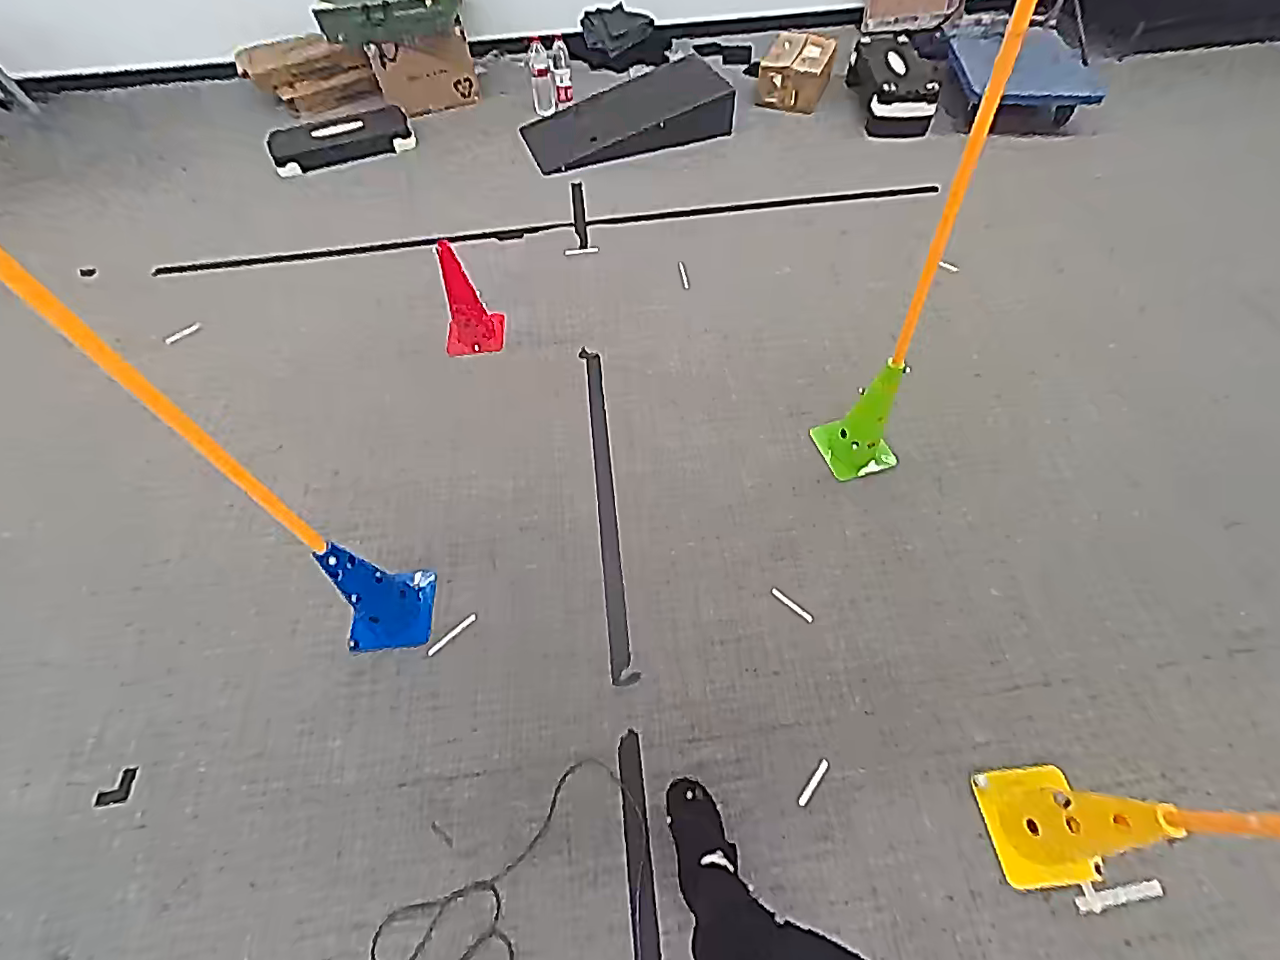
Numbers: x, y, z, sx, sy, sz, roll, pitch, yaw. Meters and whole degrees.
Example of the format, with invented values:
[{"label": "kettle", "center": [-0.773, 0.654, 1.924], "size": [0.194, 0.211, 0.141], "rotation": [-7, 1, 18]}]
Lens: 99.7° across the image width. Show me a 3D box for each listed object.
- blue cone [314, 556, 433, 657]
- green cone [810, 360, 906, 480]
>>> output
[{"label": "blue cone", "center": [-0.633, 0.261, 1.245], "size": [0.193, 0.380, 0.192], "rotation": [-5, 57, -1]}, {"label": "green cone", "center": [0.633, -0.191, 1.482], "size": [0.200, 0.368, 0.202], "rotation": [-16, 59, -8]}]
